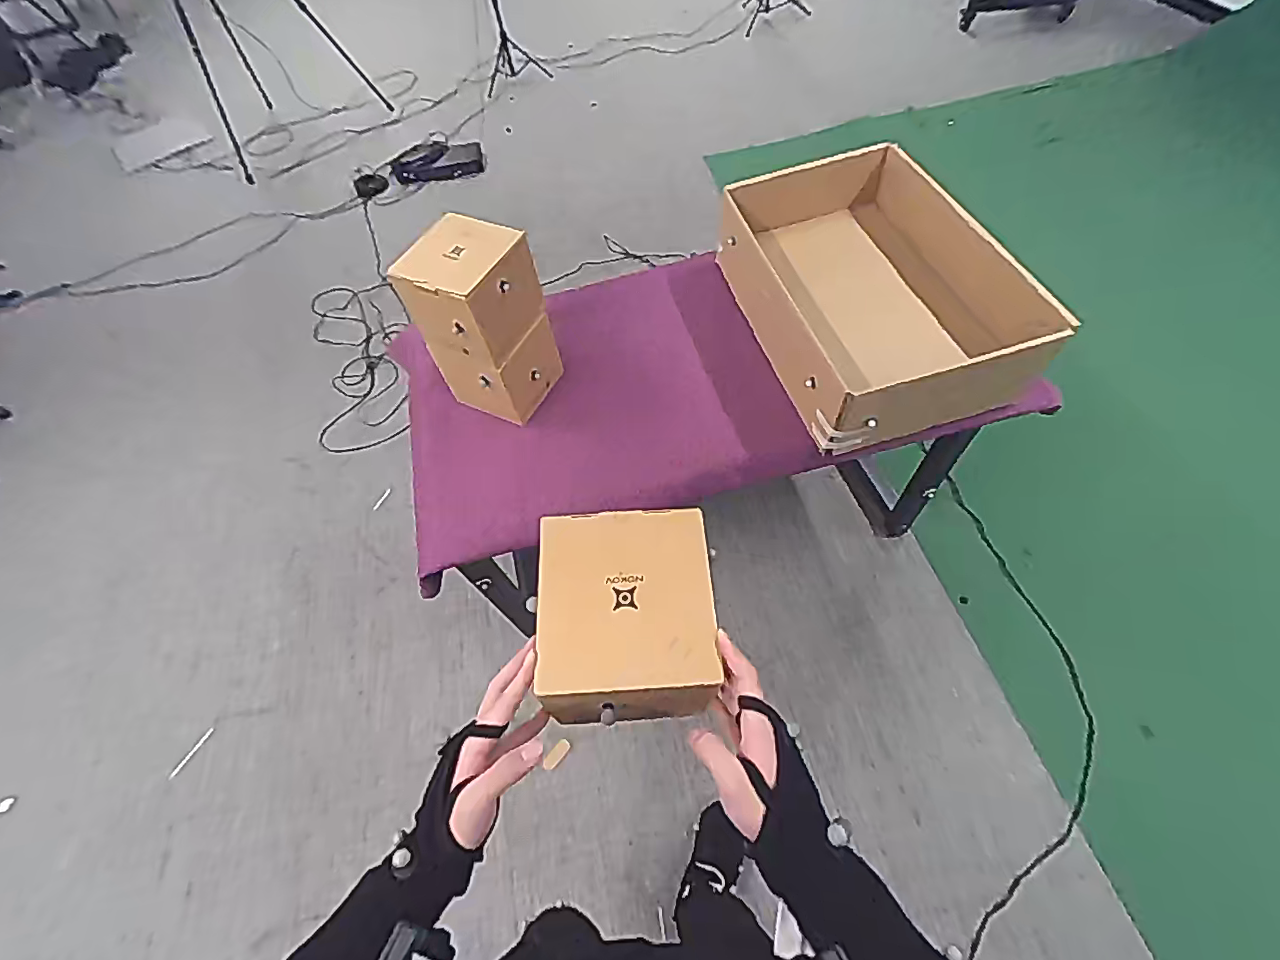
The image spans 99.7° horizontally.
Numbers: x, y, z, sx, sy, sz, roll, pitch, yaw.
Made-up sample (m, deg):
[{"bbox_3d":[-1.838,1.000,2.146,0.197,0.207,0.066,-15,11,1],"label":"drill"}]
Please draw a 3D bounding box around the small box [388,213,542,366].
[{"bbox_3d":[-0.295,-0.332,0.959,0.168,0.176,0.179,22,63,17],"label":"small box"}]

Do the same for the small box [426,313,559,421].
[{"bbox_3d":[-0.285,-0.243,1.096,0.179,0.176,0.168,22,63,17],"label":"small box"}]

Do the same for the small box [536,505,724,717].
[{"bbox_3d":[-0.011,0.146,0.574,0.168,0.176,0.179,-3,57,-2],"label":"small box"}]
